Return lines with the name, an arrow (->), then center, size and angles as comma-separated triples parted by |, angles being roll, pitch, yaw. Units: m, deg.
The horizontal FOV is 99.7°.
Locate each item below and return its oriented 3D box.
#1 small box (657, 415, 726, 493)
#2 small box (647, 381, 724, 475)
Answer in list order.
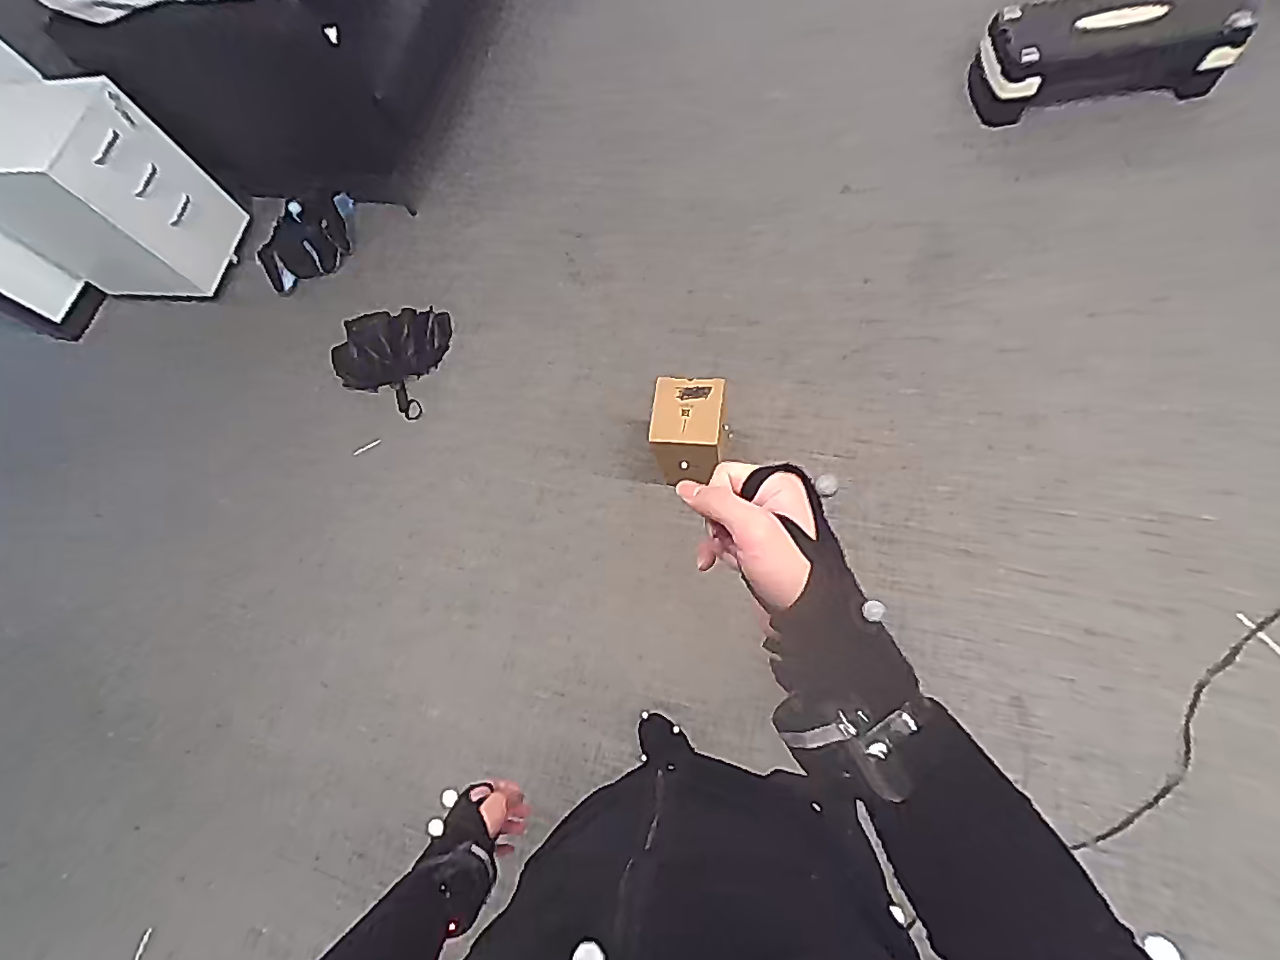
small box -> 0.150, -0.076, 1.507 | 0.168, 0.176, 0.179 | 5, 72, 13
small box -> 0.120, -0.127, 1.354 | 0.168, 0.176, 0.179 | 5, 71, 13
